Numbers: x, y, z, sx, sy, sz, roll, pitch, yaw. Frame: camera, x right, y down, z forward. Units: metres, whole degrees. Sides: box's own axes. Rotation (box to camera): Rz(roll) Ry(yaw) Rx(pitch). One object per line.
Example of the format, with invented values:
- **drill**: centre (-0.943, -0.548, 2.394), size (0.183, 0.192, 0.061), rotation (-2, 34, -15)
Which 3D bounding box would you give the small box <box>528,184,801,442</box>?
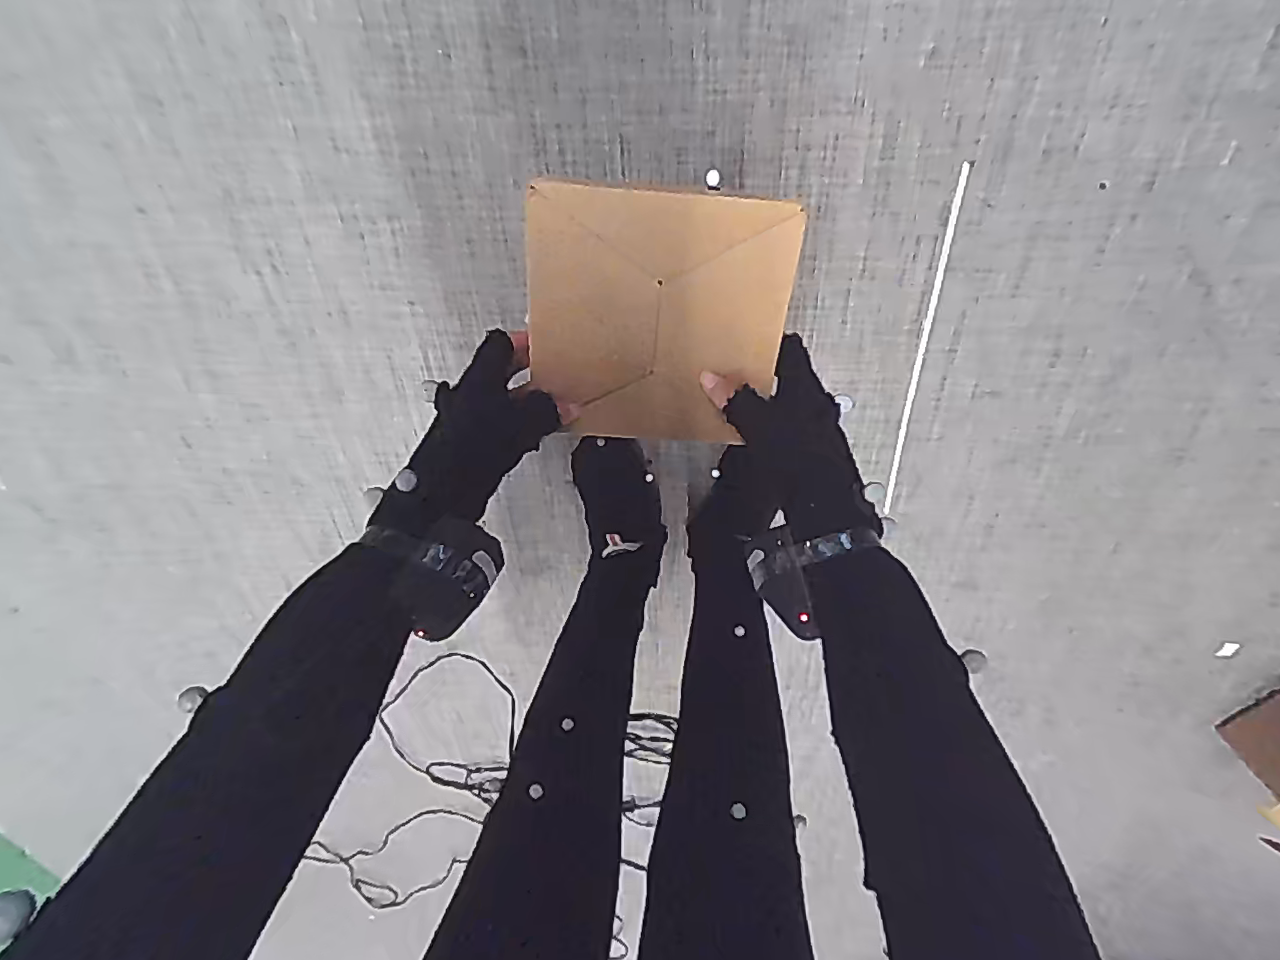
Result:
- **small box**: centre (0.009, -0.140, 0.436), size (0.179, 0.176, 0.168), rotation (3, 119, -2)
